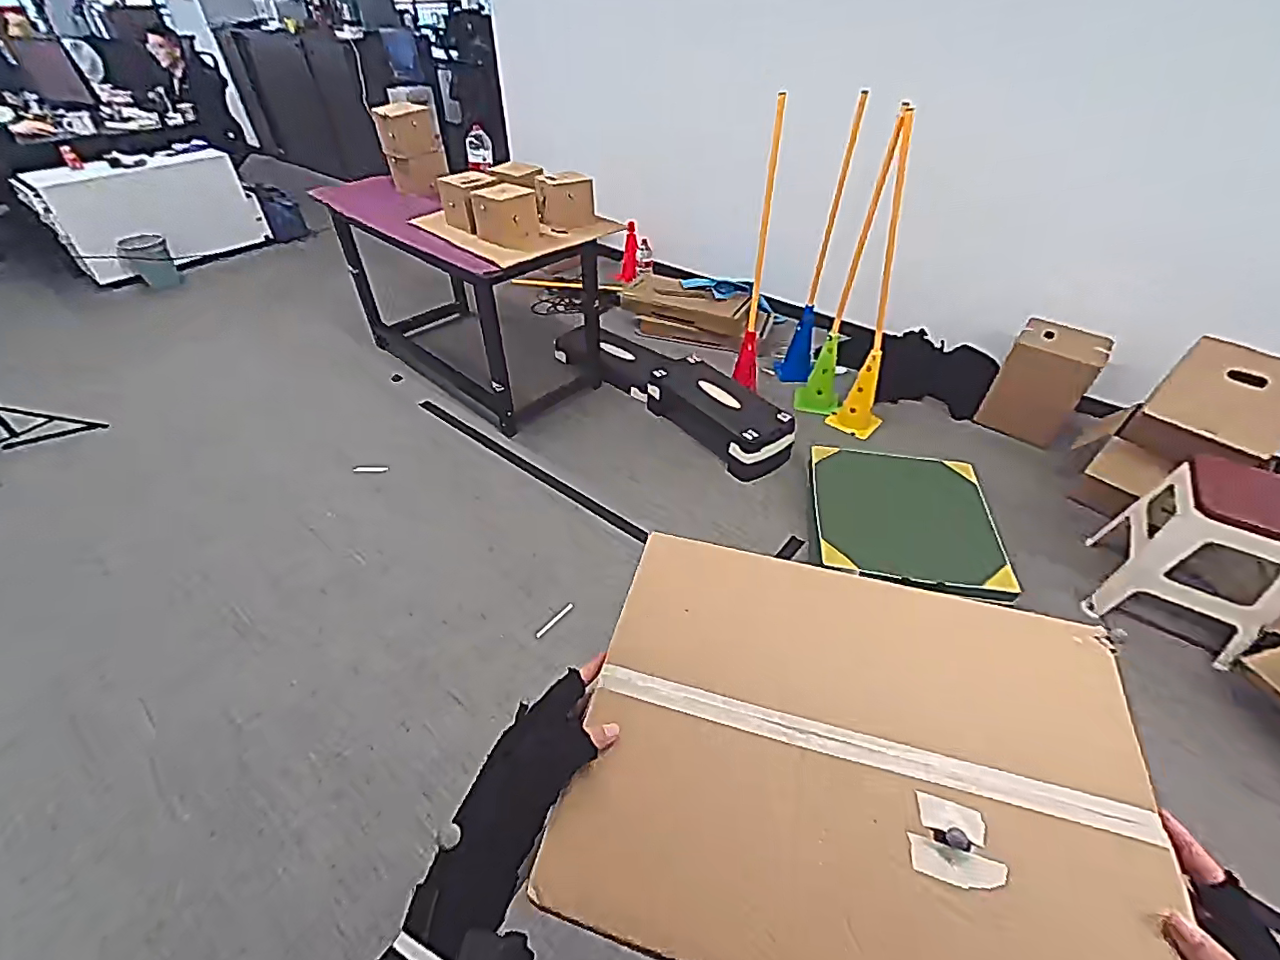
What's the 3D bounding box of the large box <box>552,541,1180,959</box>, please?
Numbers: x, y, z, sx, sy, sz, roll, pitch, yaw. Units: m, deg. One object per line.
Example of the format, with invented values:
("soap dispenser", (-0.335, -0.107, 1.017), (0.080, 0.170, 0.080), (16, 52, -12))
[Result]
("large box", (0.172, 0.306, 0.537), (0.408, 0.320, 0.320), (12, 50, 13))
